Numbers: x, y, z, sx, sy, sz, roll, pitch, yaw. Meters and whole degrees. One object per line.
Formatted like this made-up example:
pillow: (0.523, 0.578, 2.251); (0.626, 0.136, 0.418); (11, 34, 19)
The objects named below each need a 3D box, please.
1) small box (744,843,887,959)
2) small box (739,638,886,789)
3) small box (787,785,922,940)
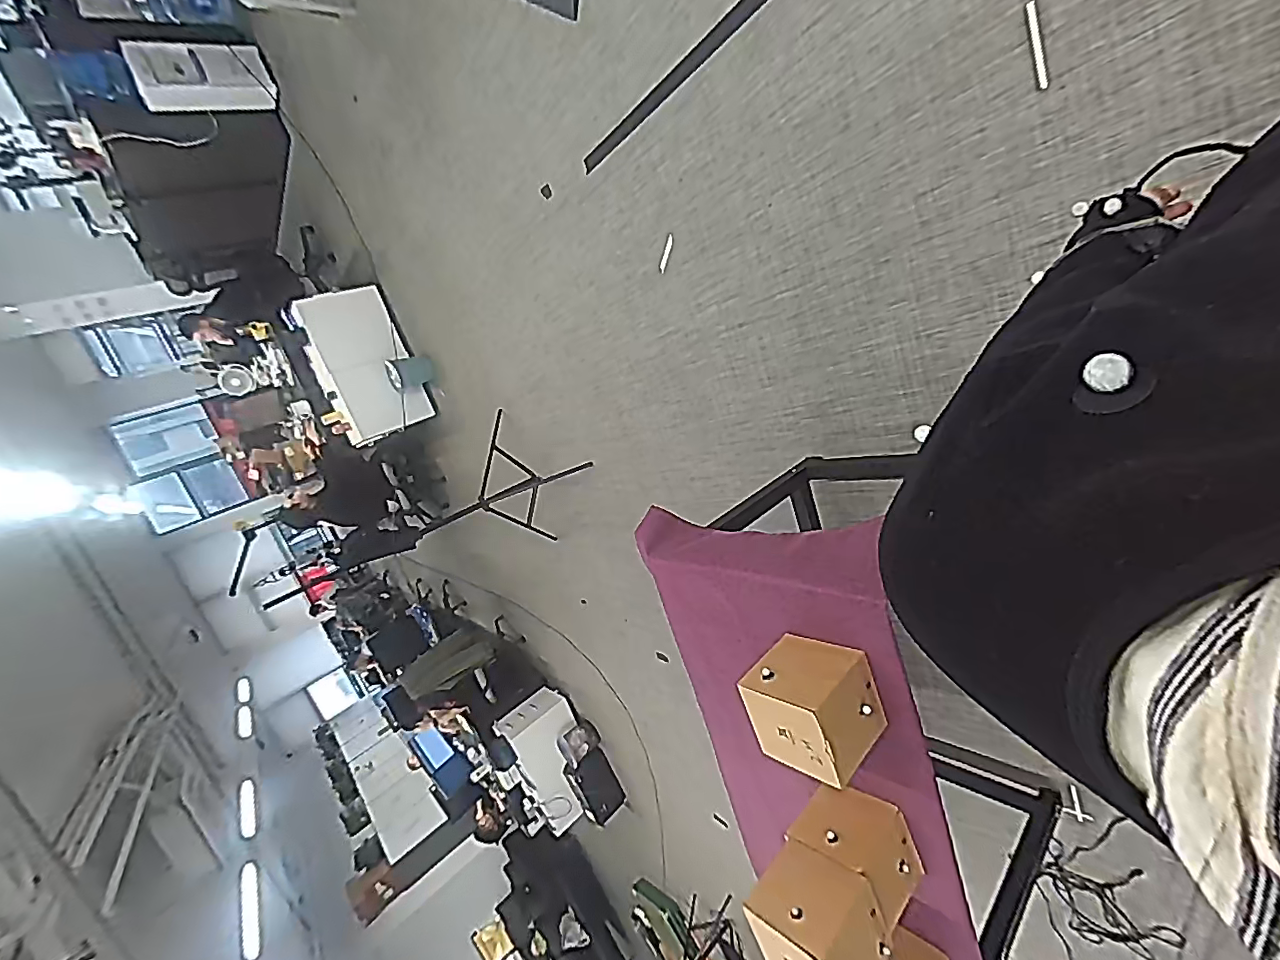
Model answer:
small box: (0.331, 0.827, 1.001); (0.179, 0.176, 0.168); (-8, 108, 54)
small box: (0.319, 0.416, 1.001); (0.179, 0.176, 0.168); (-4, 113, 53)
small box: (0.440, 0.764, 1.107); (0.179, 0.176, 0.168); (-10, 106, 53)
